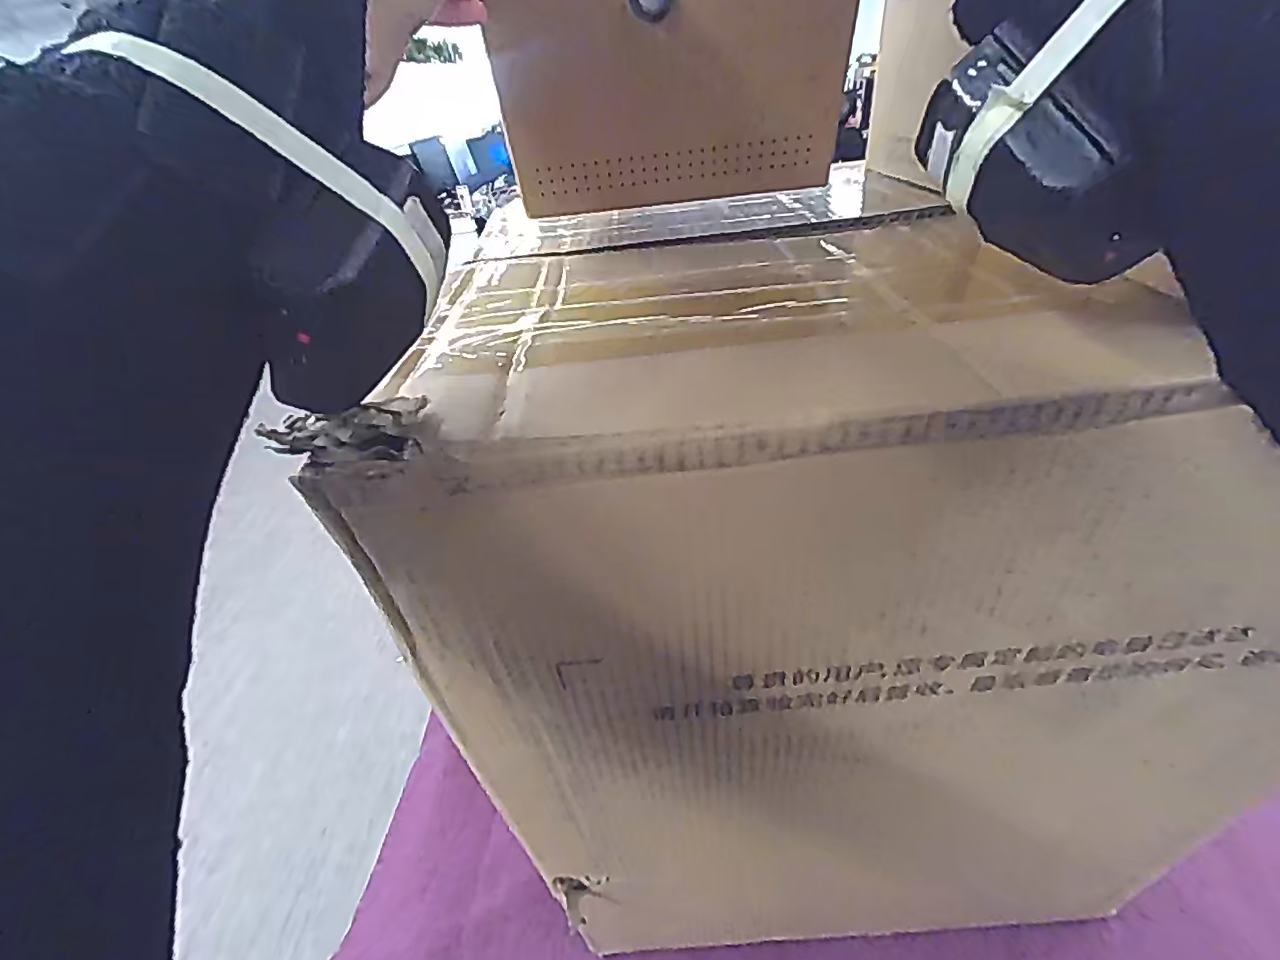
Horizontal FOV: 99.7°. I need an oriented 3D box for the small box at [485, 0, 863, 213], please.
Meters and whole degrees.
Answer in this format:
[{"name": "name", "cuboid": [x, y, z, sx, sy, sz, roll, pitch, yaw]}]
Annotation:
[{"name": "small box", "cuboid": [0.015, -0.270, 0.294, 0.179, 0.176, 0.168, -6, 50, 2]}]
